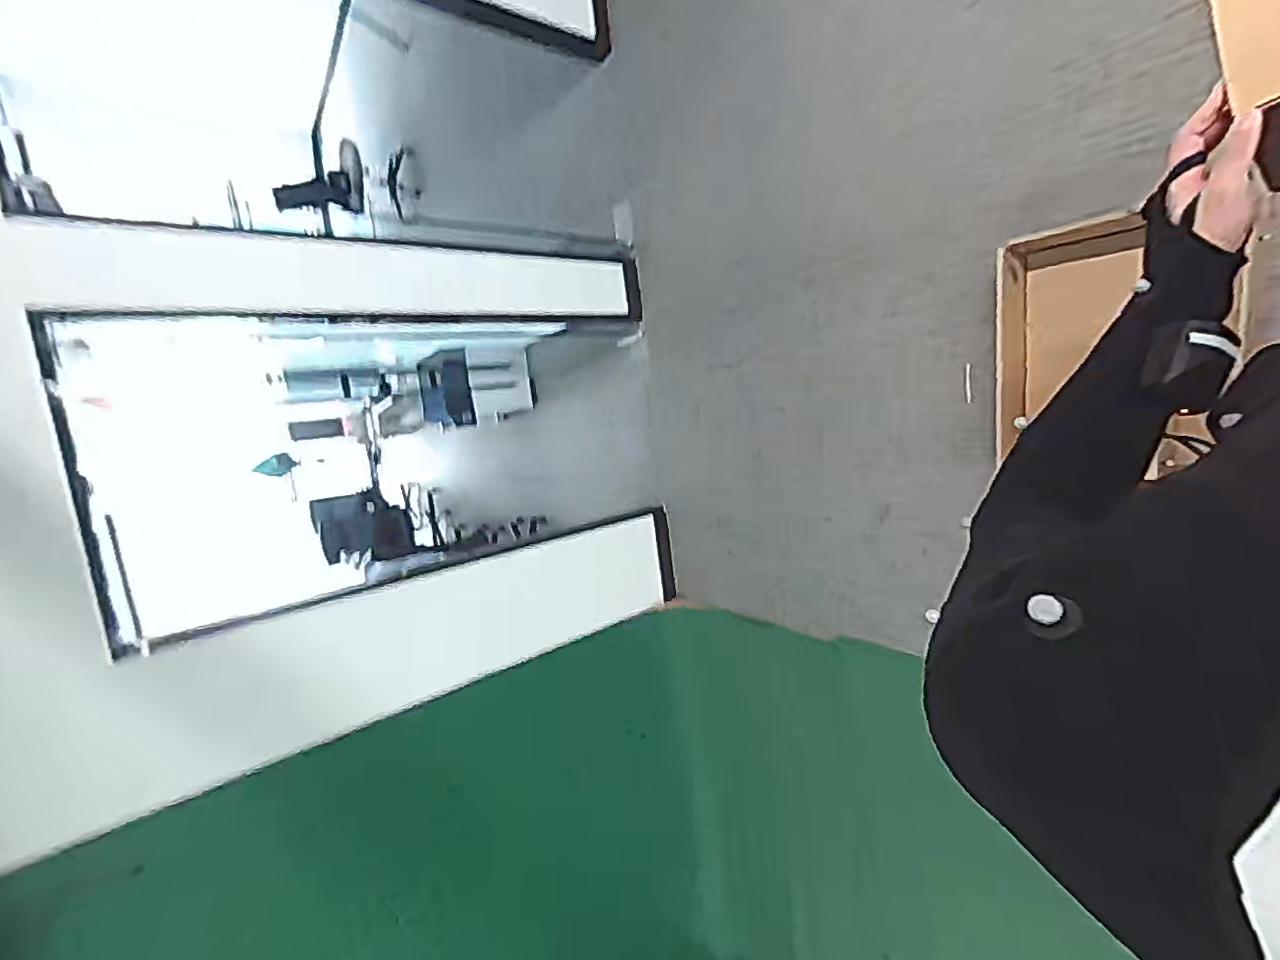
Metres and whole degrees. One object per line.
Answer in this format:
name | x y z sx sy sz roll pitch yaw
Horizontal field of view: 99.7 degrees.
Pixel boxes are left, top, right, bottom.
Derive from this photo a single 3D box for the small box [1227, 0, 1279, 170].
small box | 0.588 -0.381 0.417 0.168 0.176 0.179 -12 78 55
